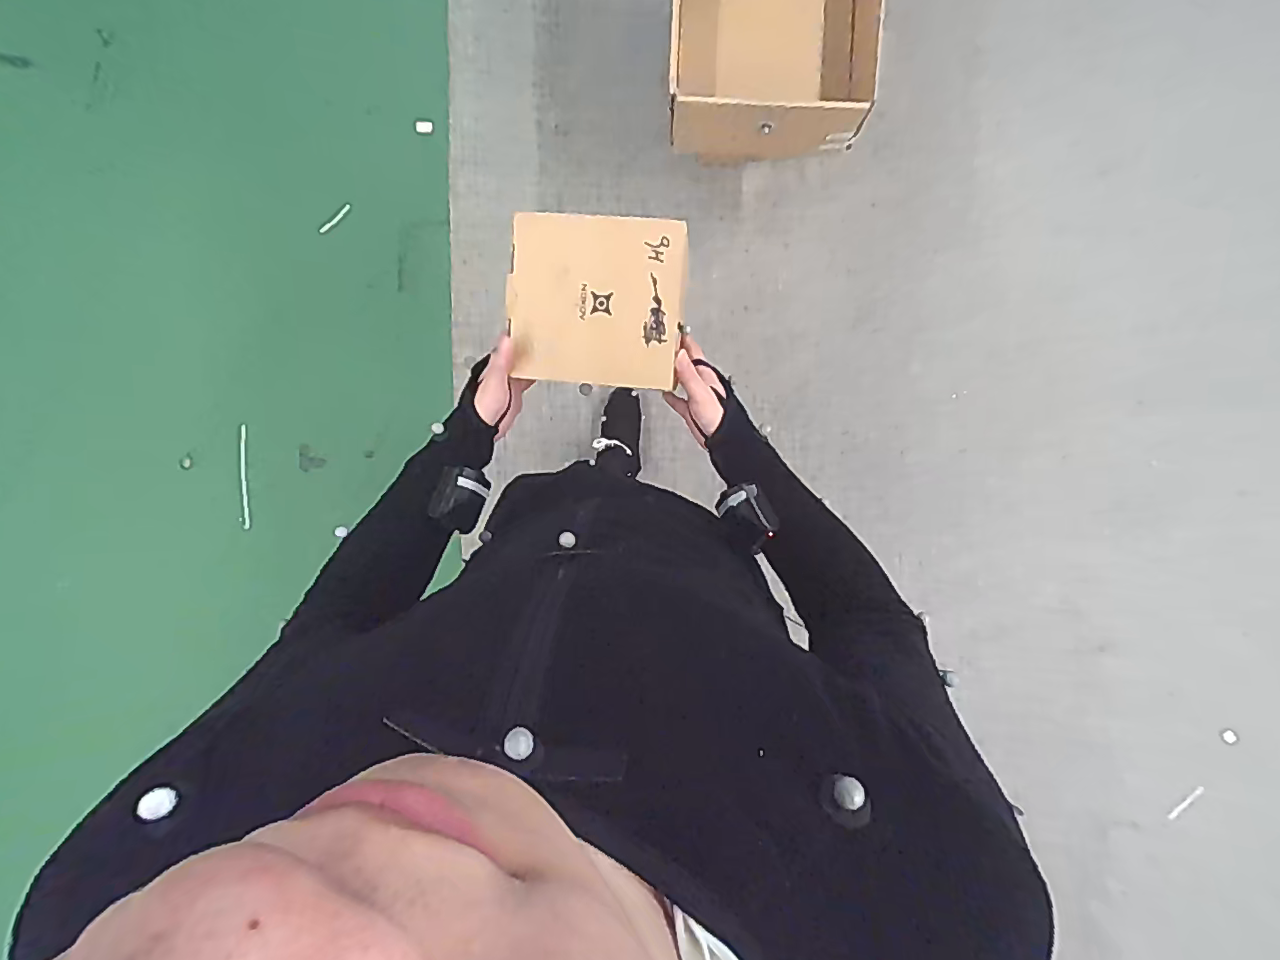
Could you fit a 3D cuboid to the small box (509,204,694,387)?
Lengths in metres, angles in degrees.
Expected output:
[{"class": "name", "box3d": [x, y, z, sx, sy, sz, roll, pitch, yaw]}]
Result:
[{"class": "small box", "box3d": [-0.034, -0.197, 0.620, 0.179, 0.176, 0.168, 6, 100, 5]}]
